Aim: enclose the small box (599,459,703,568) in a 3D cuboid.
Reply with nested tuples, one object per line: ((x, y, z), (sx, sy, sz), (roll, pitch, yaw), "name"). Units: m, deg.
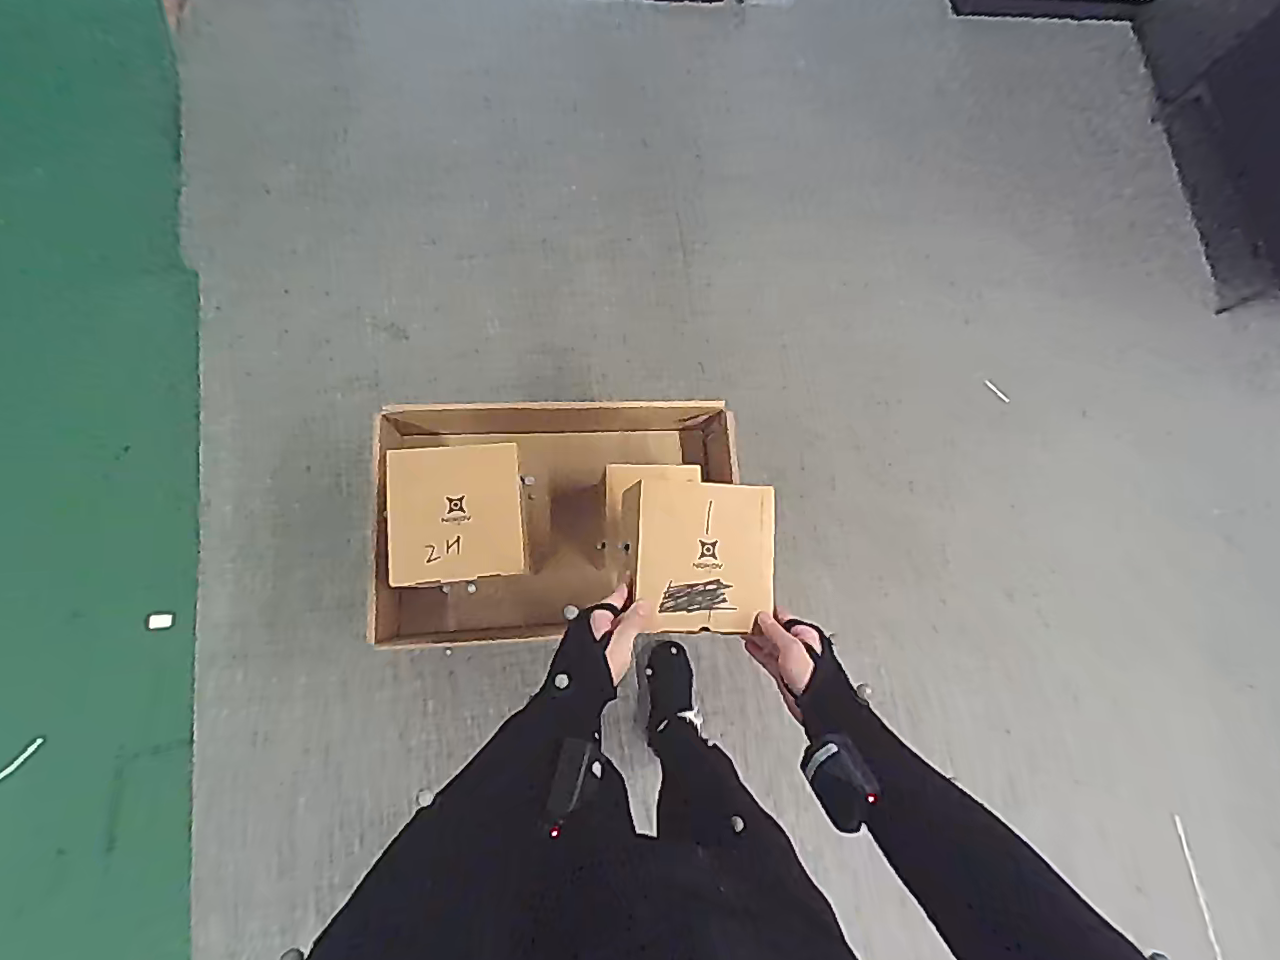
((0.015, 0.067, 0.974), (0.168, 0.176, 0.179), (1, 80, -9), "small box")

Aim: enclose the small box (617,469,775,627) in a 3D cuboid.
((0.063, 0.087, 0.702), (0.168, 0.176, 0.179), (4, 82, -9), "small box")

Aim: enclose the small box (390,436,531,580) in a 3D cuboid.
((-0.245, 0.046, 0.767), (0.168, 0.176, 0.179), (-4, 80, -9), "small box")
